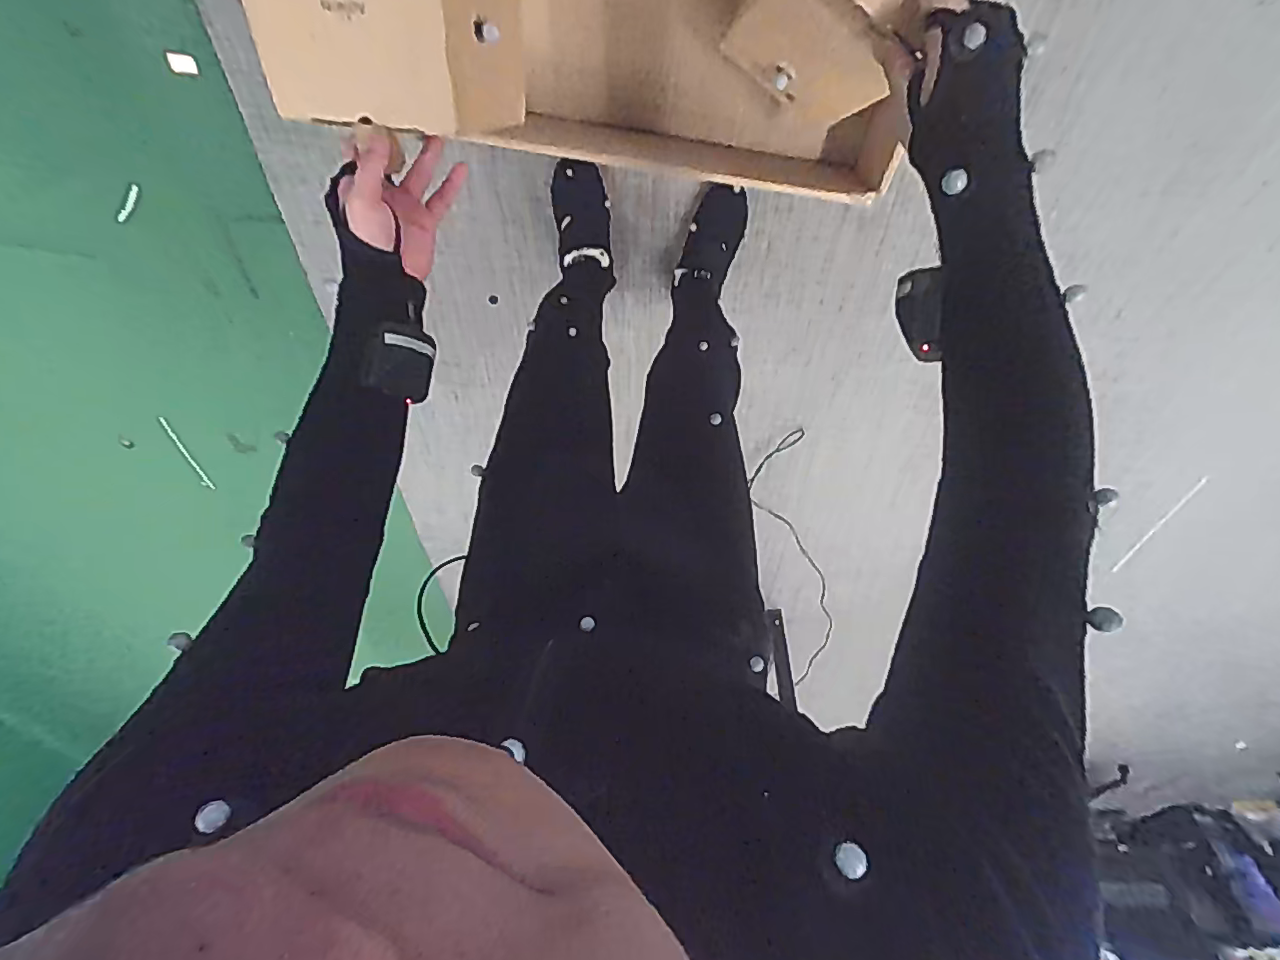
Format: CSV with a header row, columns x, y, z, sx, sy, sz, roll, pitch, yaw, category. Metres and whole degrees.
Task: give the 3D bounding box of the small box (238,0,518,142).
x,y,z,sx,sy,sz,roll,pitch,yaw,category
-0.213,-0.410,0.465,0.168,0.176,0.179,9,129,6,small box
